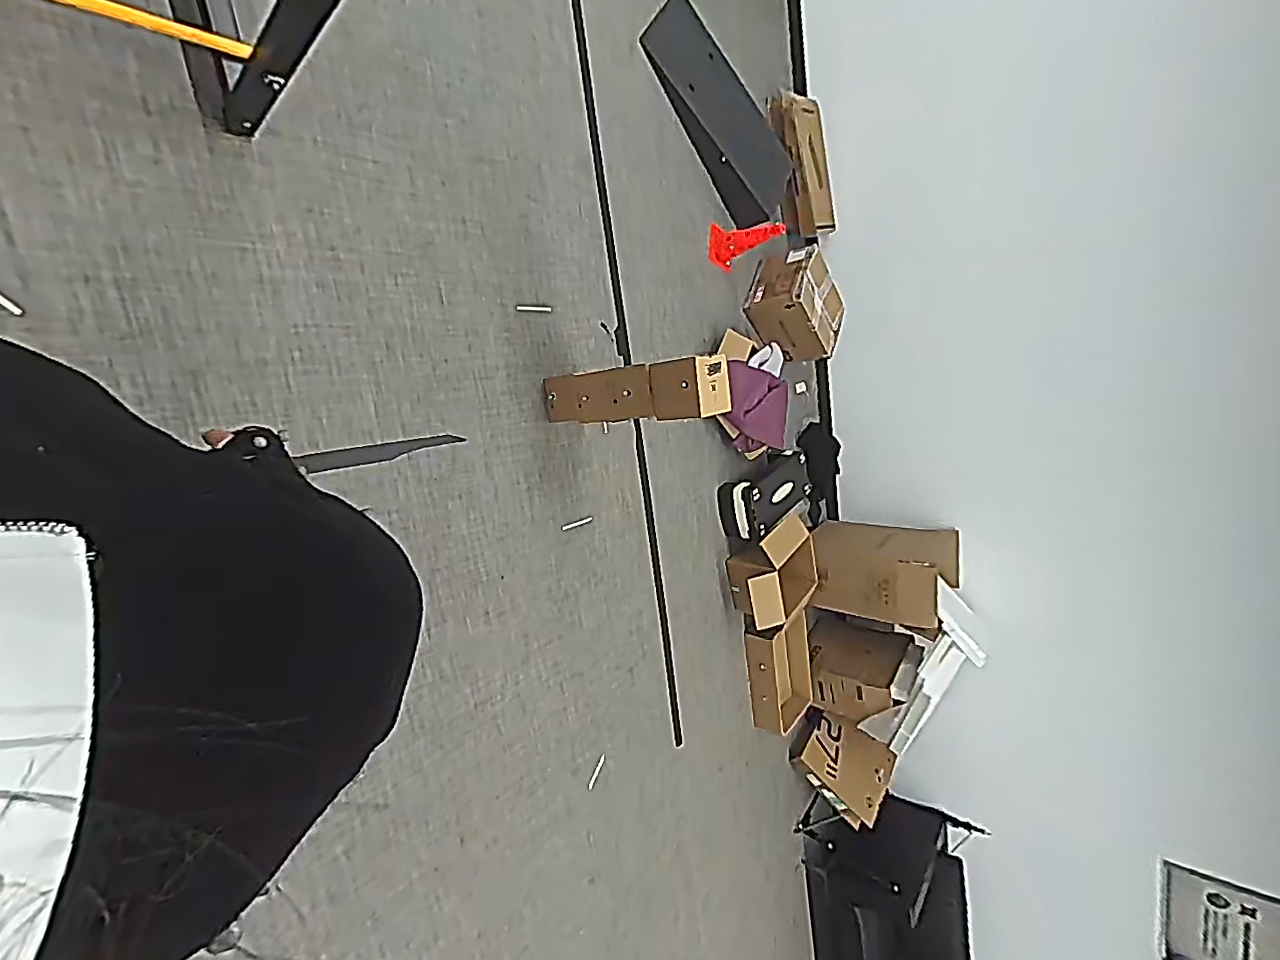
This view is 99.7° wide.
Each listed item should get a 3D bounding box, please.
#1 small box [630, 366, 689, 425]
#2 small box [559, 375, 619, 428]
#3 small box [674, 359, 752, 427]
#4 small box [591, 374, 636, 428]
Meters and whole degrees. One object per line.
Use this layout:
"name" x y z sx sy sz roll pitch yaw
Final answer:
"small box" 0.081 -0.266 1.709 0.179 0.176 0.168 -17 104 -47
"small box" -0.162 -0.282 1.930 0.179 0.176 0.168 -18 104 -46
"small box" 0.214 -0.258 1.610 0.168 0.176 0.179 -19 106 -48
"small box" -0.041 -0.269 1.818 0.179 0.176 0.168 -18 104 -47
